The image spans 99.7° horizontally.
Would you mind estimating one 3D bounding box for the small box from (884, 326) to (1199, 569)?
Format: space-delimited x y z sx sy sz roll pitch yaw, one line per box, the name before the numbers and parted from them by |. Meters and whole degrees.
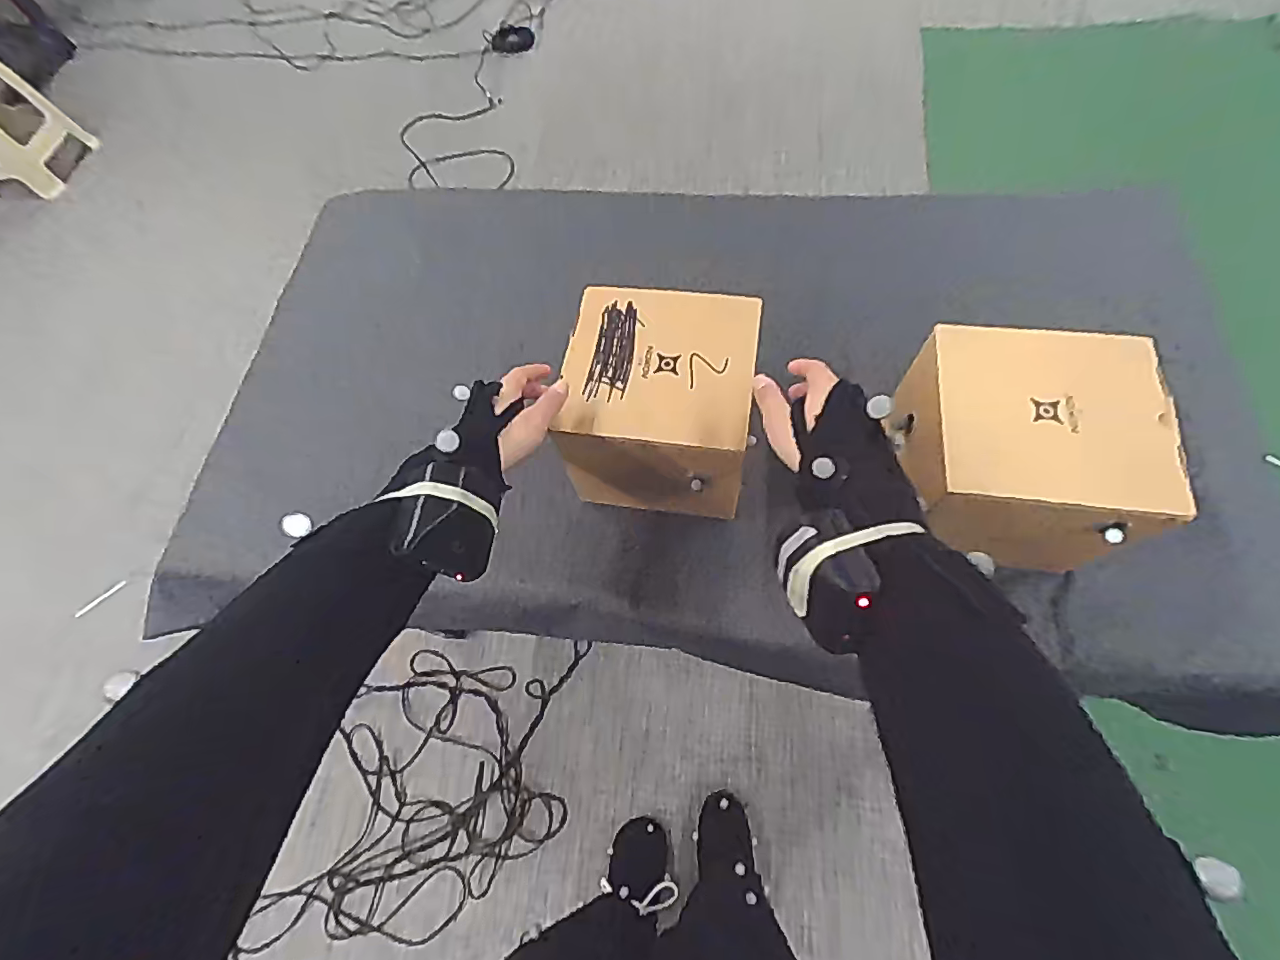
small box | 0.341 -0.022 0.509 0.179 0.176 0.168 6 67 8
